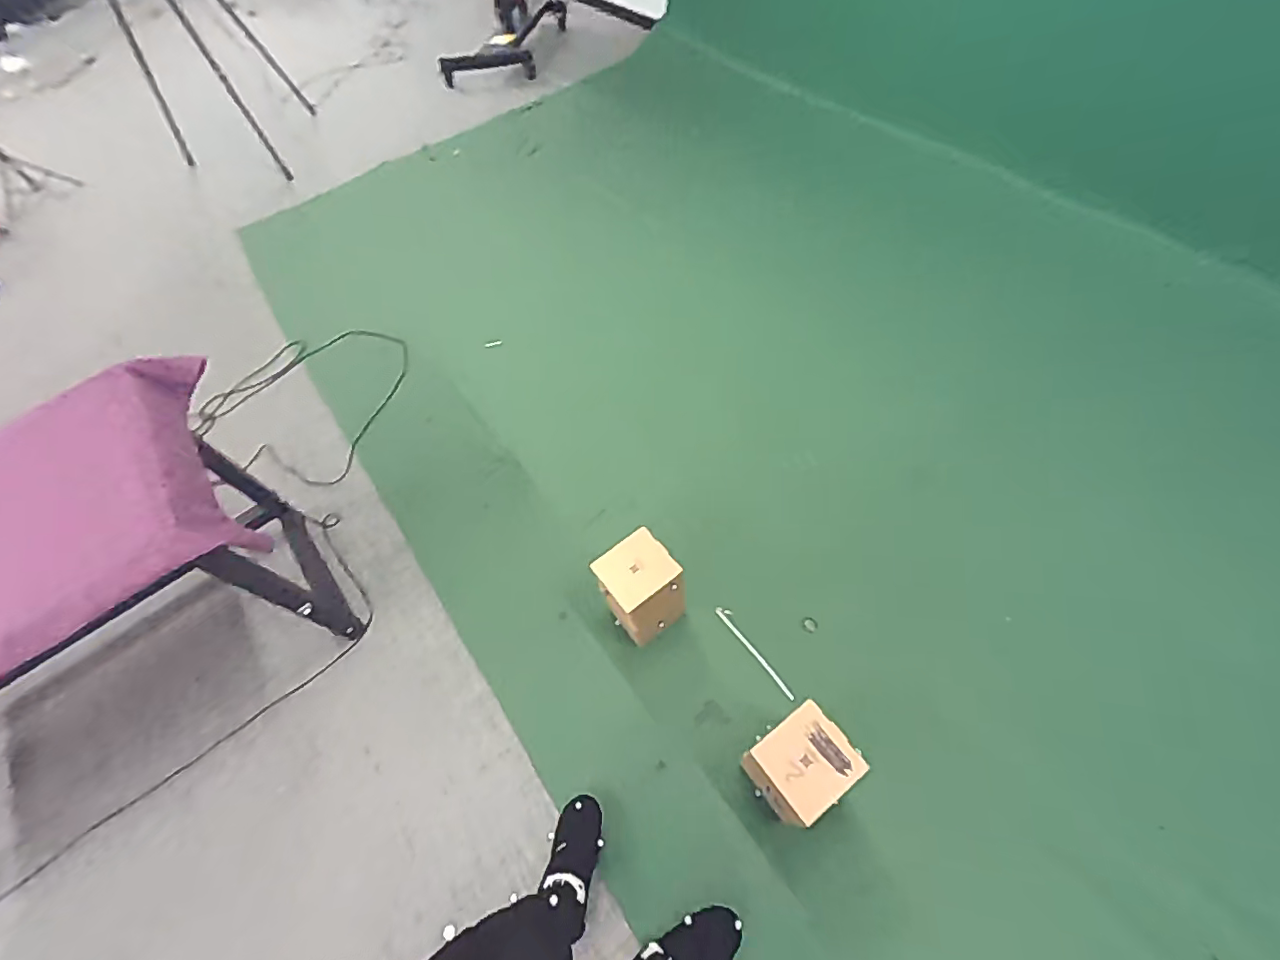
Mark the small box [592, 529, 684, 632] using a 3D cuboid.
[{"bbox_3d":[0.003,0.268,1.411,0.179,0.176,0.168,-35,60,-16],"label":"small box"}]

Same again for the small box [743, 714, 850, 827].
[{"bbox_3d":[0.364,0.693,1.294,0.179,0.176,0.168,-33,60,-13],"label":"small box"}]

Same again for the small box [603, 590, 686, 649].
[{"bbox_3d":[0.017,0.352,1.548,0.179,0.176,0.168,-35,60,-14],"label":"small box"}]
